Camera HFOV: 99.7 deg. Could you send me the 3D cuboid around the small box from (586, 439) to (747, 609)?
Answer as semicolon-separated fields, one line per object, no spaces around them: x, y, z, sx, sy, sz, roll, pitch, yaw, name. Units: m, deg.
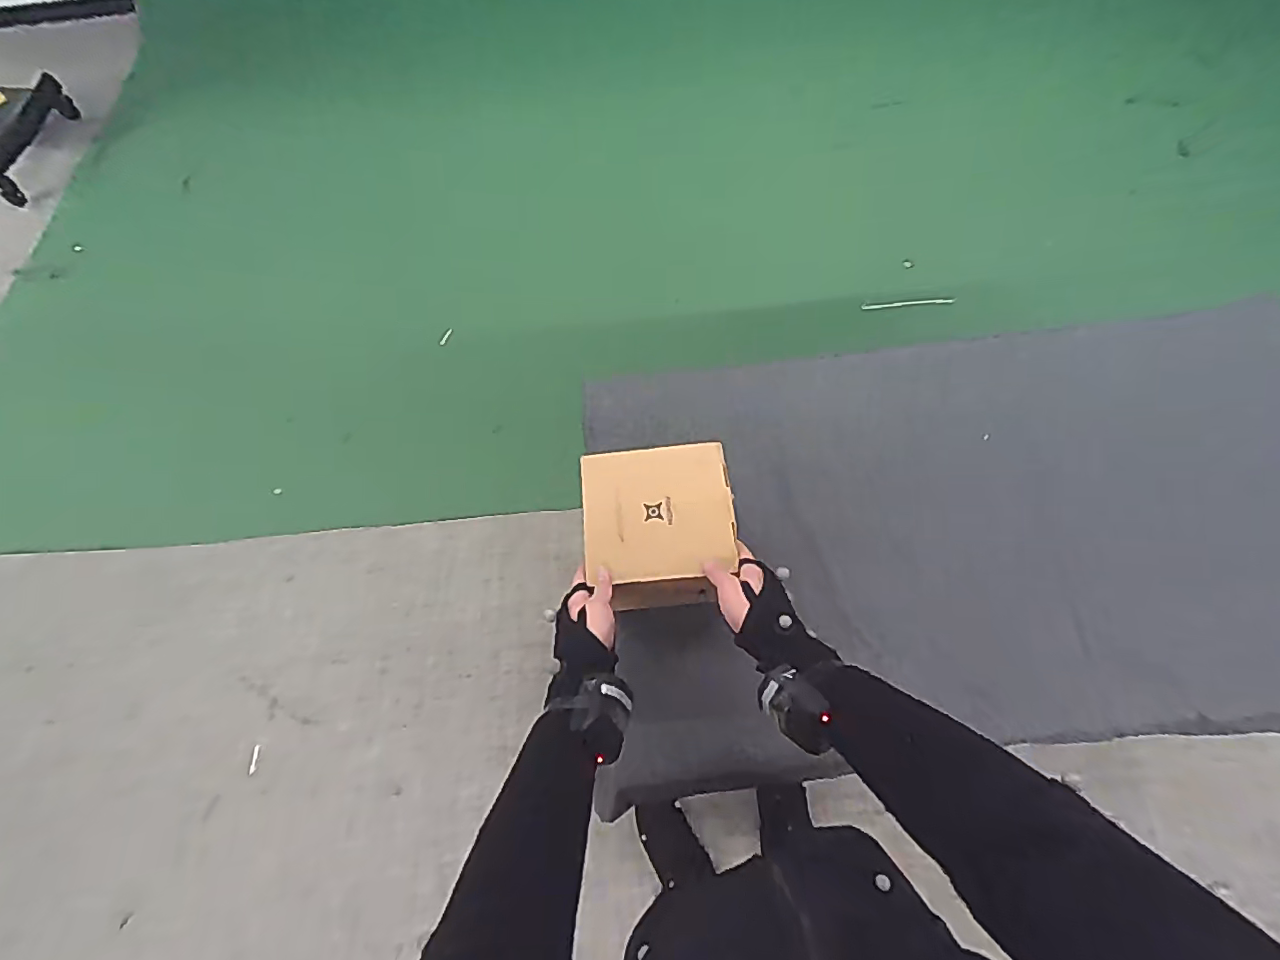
0.030;0.064;0.693;0.179;0.176;0.168;-5;65;2;small box
